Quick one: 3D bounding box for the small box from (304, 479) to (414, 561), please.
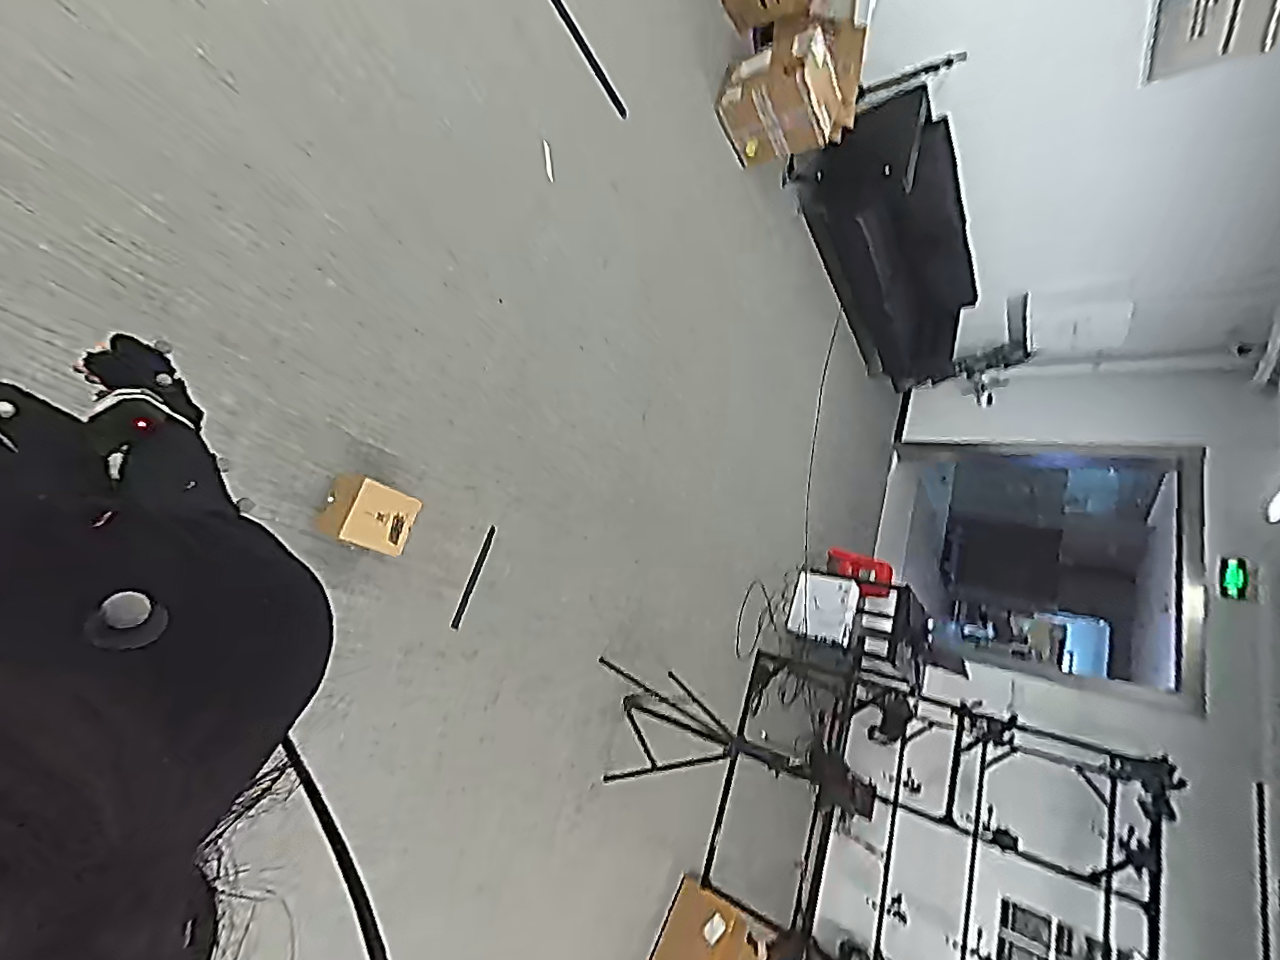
[{"bbox_3d":[-0.756,0.103,1.455,0.179,0.176,0.168,37,65,-47],"label":"small box"}]
